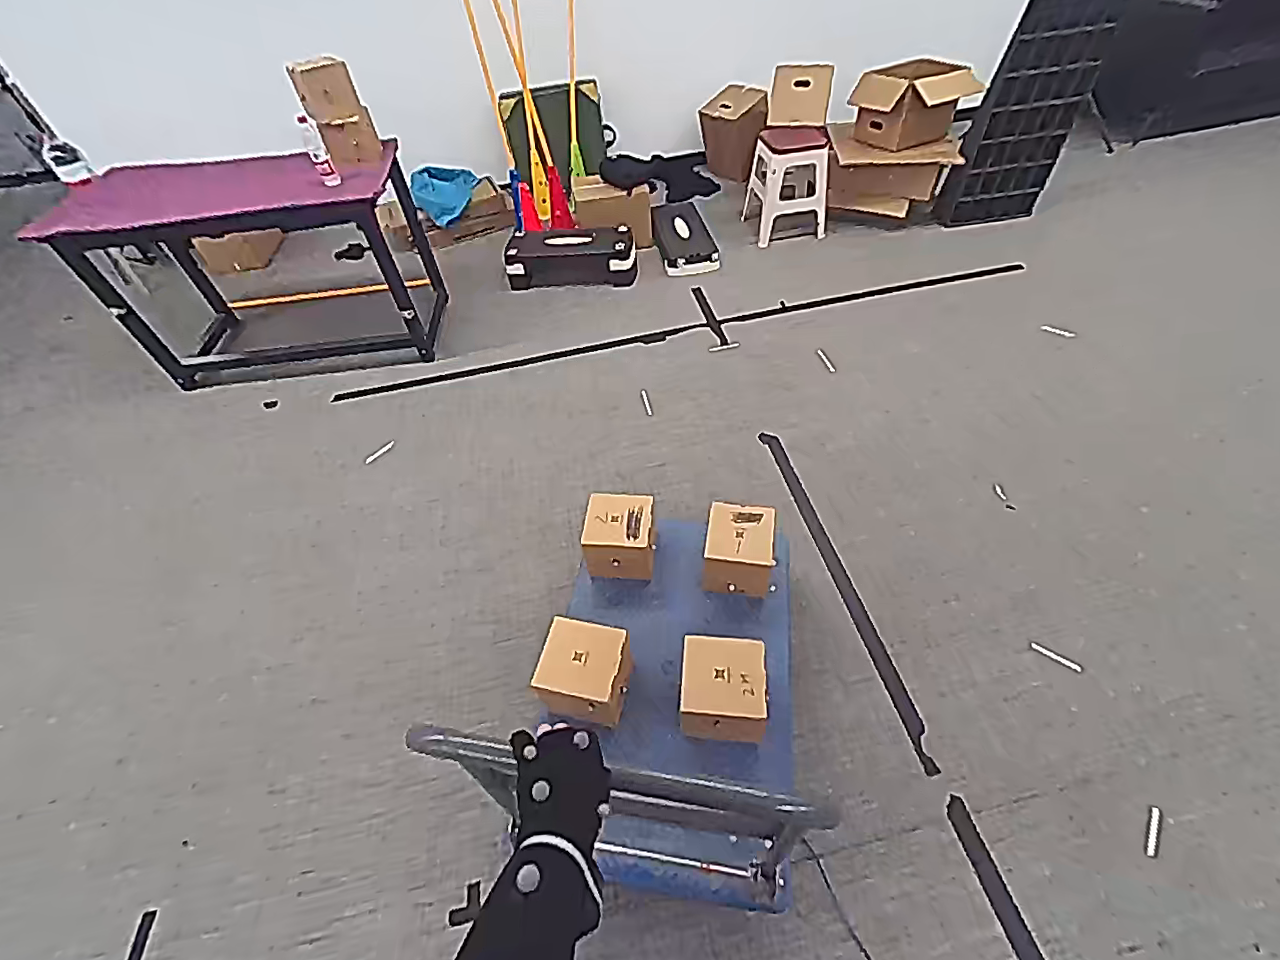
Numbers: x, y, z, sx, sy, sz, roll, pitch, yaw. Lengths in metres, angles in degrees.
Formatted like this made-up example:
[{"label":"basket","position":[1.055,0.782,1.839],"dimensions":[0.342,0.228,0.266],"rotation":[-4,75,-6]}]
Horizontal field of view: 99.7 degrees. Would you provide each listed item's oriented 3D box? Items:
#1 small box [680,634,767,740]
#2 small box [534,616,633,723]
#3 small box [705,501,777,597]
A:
[{"label":"small box","position":[0.184,0.458,1.192],"dimensions":[0.179,0.176,0.168],"rotation":[3,50,8]},{"label":"small box","position":[-0.121,0.438,1.240],"dimensions":[0.179,0.176,0.168],"rotation":[8,51,10]},{"label":"small box","position":[0.262,0.182,1.421],"dimensions":[0.168,0.176,0.179],"rotation":[6,52,11]}]
